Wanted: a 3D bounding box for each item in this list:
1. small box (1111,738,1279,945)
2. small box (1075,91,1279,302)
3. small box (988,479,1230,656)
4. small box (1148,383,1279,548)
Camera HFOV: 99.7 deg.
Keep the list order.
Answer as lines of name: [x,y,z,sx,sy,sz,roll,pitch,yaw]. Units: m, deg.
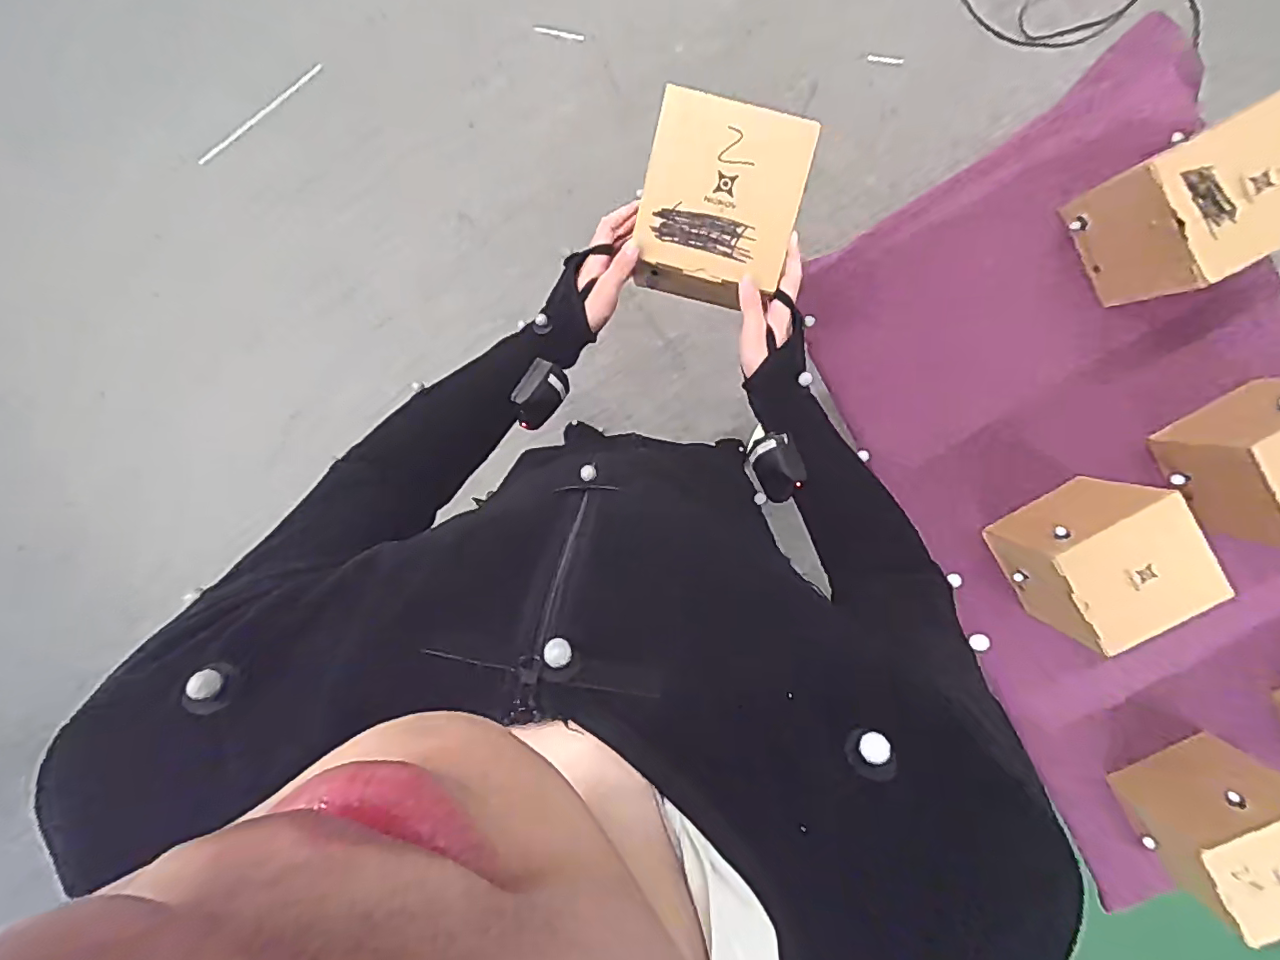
small box: [0.890,0.533,0.822,0.179,0.176,0.168,-29,93,7]
small box: [0.728,-0.358,0.714,0.179,0.176,0.168,-28,96,9]
small box: [0.663,0.114,0.788,0.179,0.176,0.168,-31,95,8]
small box: [0.887,-0.028,0.752,0.179,0.176,0.168,-30,94,9]
